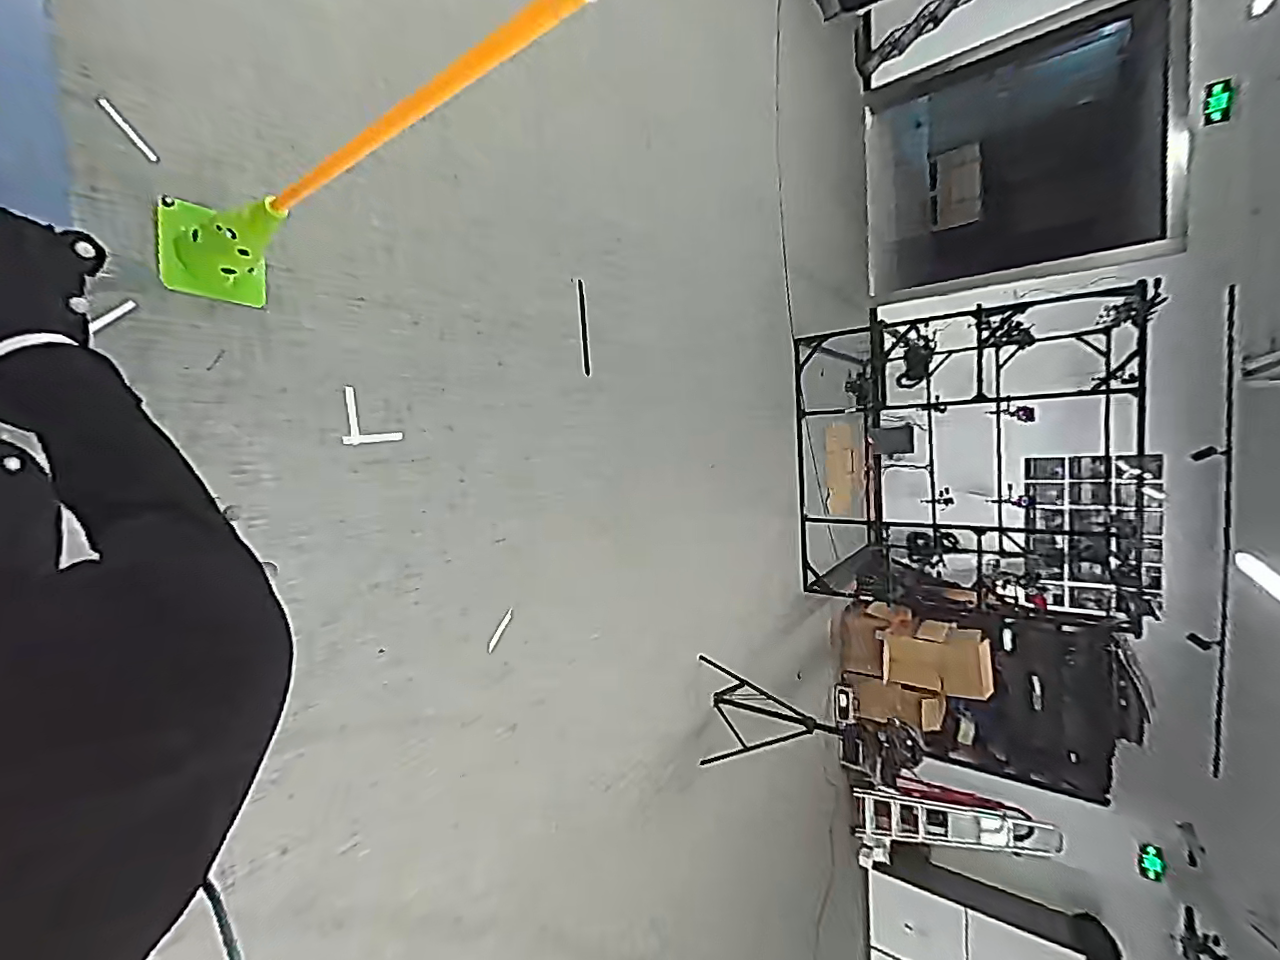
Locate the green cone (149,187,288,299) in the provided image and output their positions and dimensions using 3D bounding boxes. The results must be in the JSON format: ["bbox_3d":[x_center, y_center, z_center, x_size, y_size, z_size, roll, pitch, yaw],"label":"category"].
[{"bbox_3d":[-0.843,-0.531,1.129,0.202,0.368,0.200,-2,92,-55],"label":"green cone"}]
